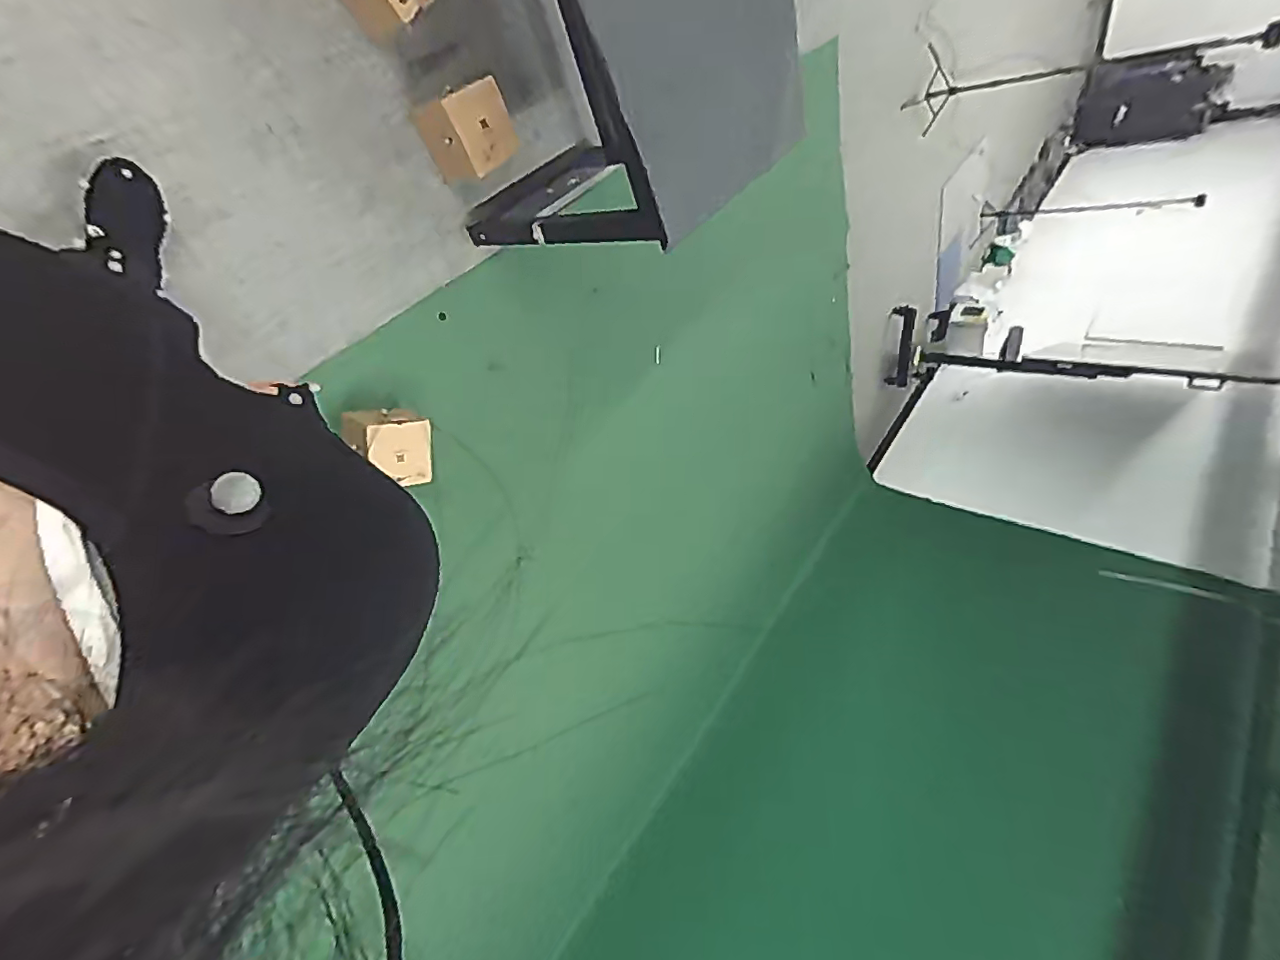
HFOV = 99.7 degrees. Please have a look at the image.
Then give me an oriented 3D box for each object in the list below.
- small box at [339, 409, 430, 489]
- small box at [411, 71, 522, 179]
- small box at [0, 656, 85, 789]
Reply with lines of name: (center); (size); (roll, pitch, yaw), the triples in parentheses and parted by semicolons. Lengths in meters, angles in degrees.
small box: (-0.676, -0.089, 1.428); (0.168, 0.176, 0.179); (-13, 115, -47)
small box: (-0.440, -0.890, 1.368); (0.168, 0.176, 0.179); (-48, 137, -24)
small box: (-1.200, 0.463, 1.038); (0.179, 0.176, 0.168); (-2, 107, -48)
